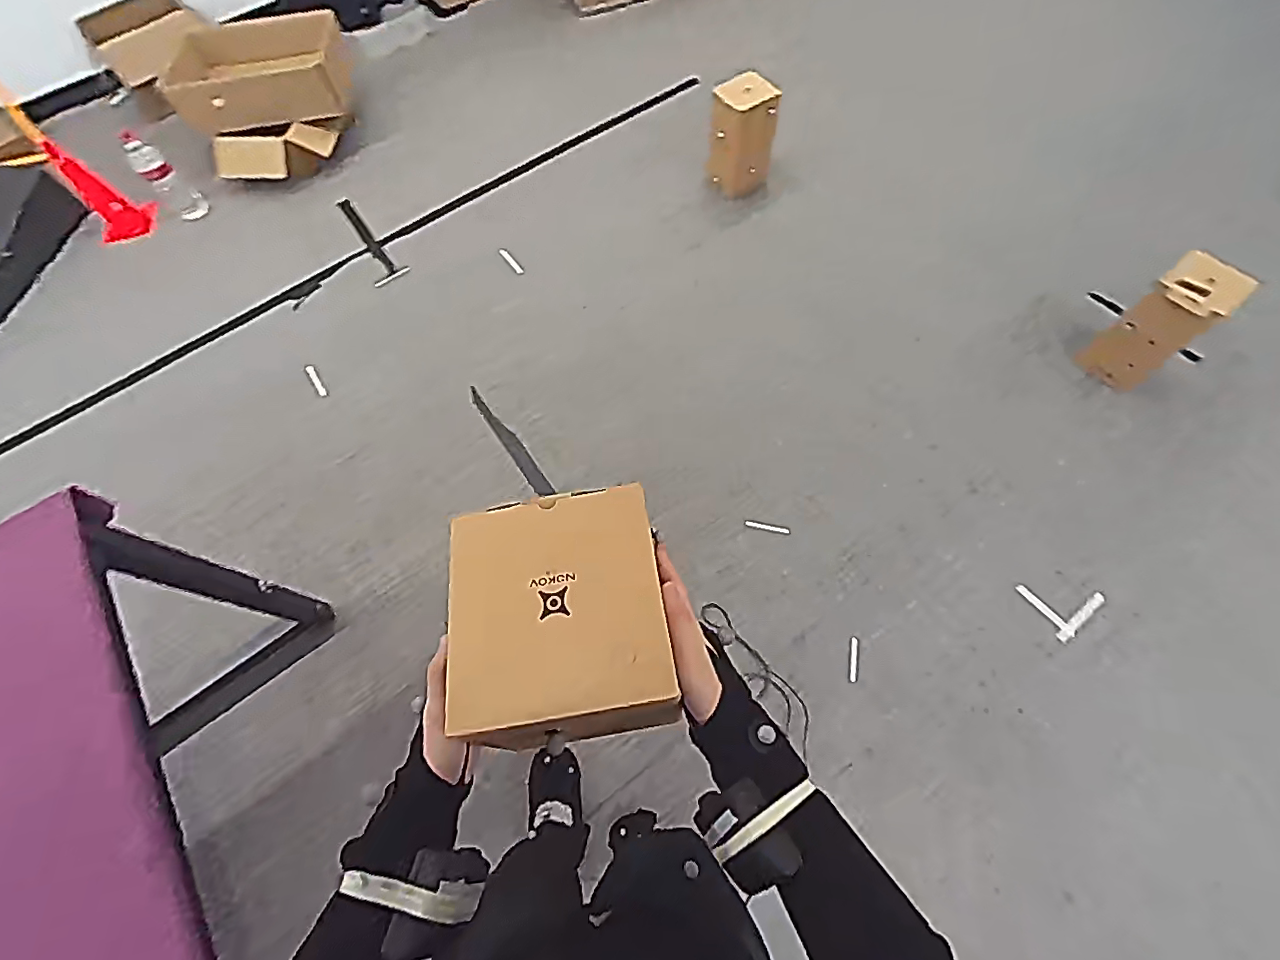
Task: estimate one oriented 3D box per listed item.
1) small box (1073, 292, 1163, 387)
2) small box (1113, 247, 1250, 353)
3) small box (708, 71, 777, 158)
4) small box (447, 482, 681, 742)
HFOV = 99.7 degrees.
[{"bbox_3d":[1.441,-0.409,1.600,0.179,0.176,0.168,-39,69,-15],"label":"small box"},{"bbox_3d":[1.433,-0.474,1.448,0.179,0.176,0.168,-38,69,-14],"label":"small box"},{"bbox_3d":[0.352,-1.280,1.898,0.179,0.176,0.168,-32,66,-10],"label":"small box"},{"bbox_3d":[-0.058,0.128,0.485,0.168,0.176,0.179,-10,59,0],"label":"small box"}]
